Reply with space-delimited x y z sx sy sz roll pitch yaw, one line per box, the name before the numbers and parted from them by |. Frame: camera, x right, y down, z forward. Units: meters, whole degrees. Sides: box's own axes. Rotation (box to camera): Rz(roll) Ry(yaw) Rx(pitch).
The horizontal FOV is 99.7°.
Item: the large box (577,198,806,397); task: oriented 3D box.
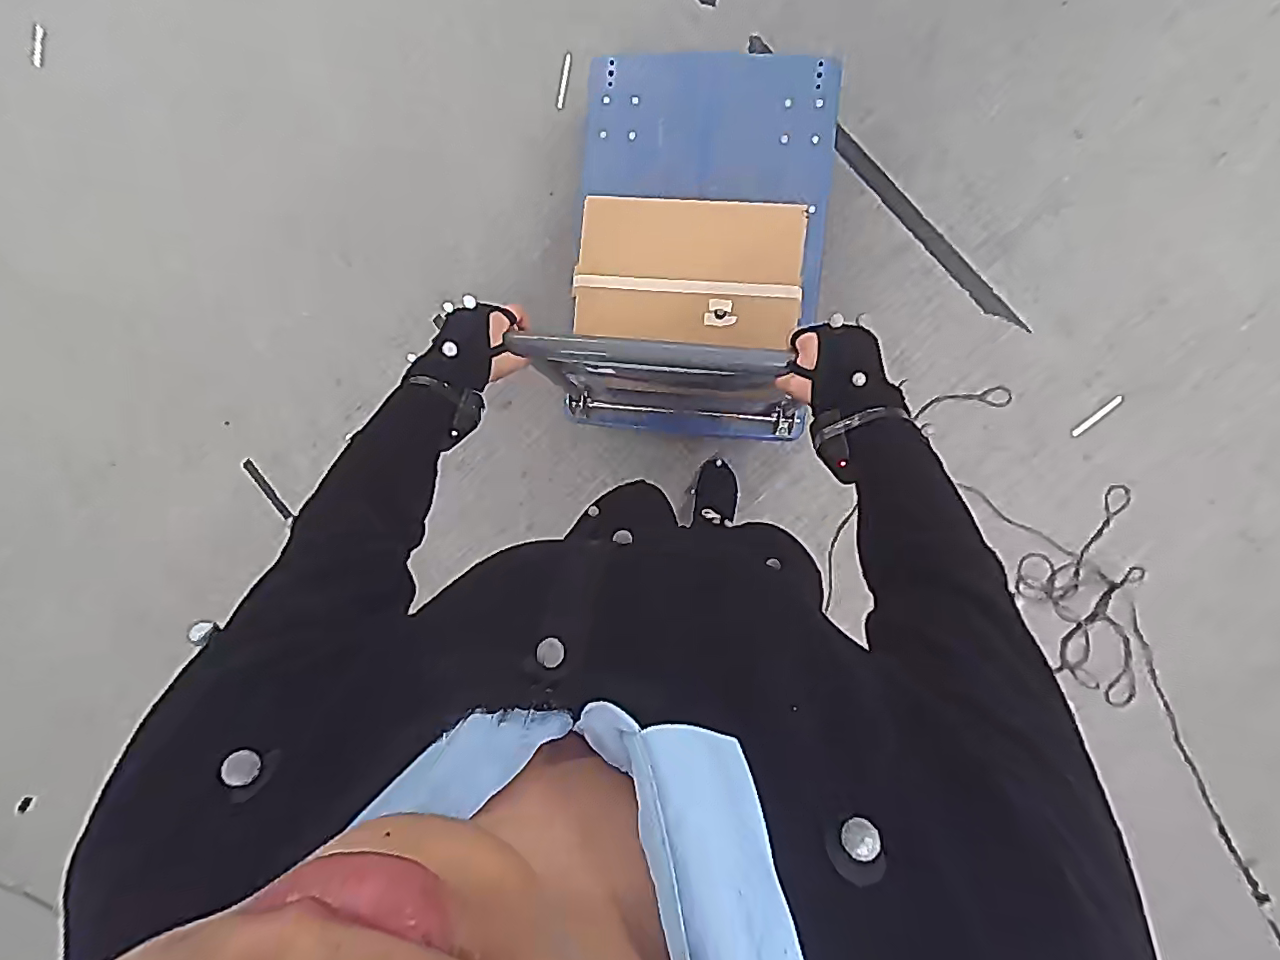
large box | 0.101 -0.357 1.134 0.408 0.320 0.320 5 93 5
